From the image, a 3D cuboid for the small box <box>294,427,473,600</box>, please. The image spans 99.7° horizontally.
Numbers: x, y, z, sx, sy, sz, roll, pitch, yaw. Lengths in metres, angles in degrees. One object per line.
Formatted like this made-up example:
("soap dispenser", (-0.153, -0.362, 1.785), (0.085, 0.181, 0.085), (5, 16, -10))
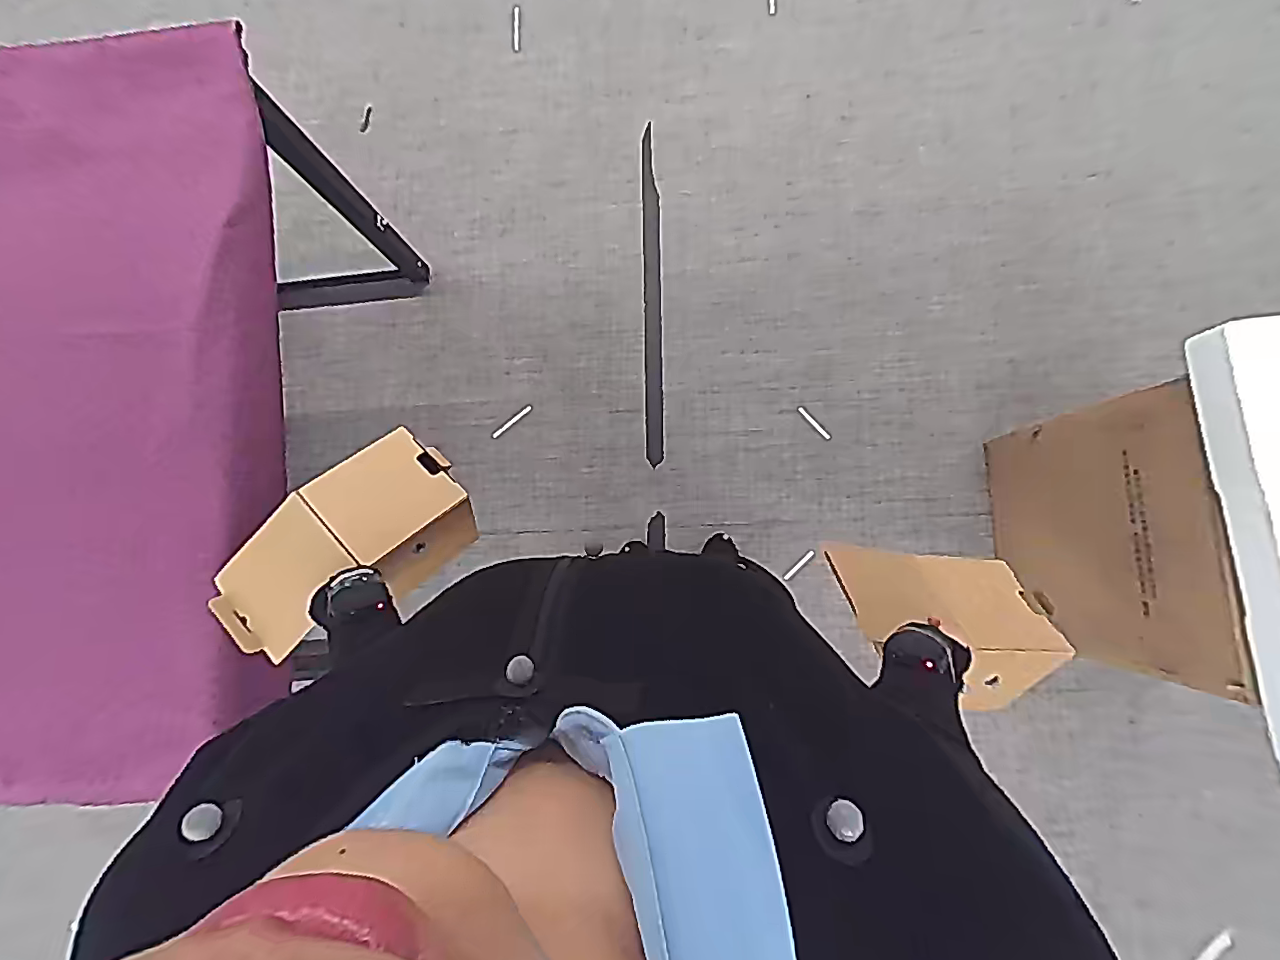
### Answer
("small box", (-0.381, 0.058, 0.841), (0.168, 0.176, 0.179), (44, 63, 13))
